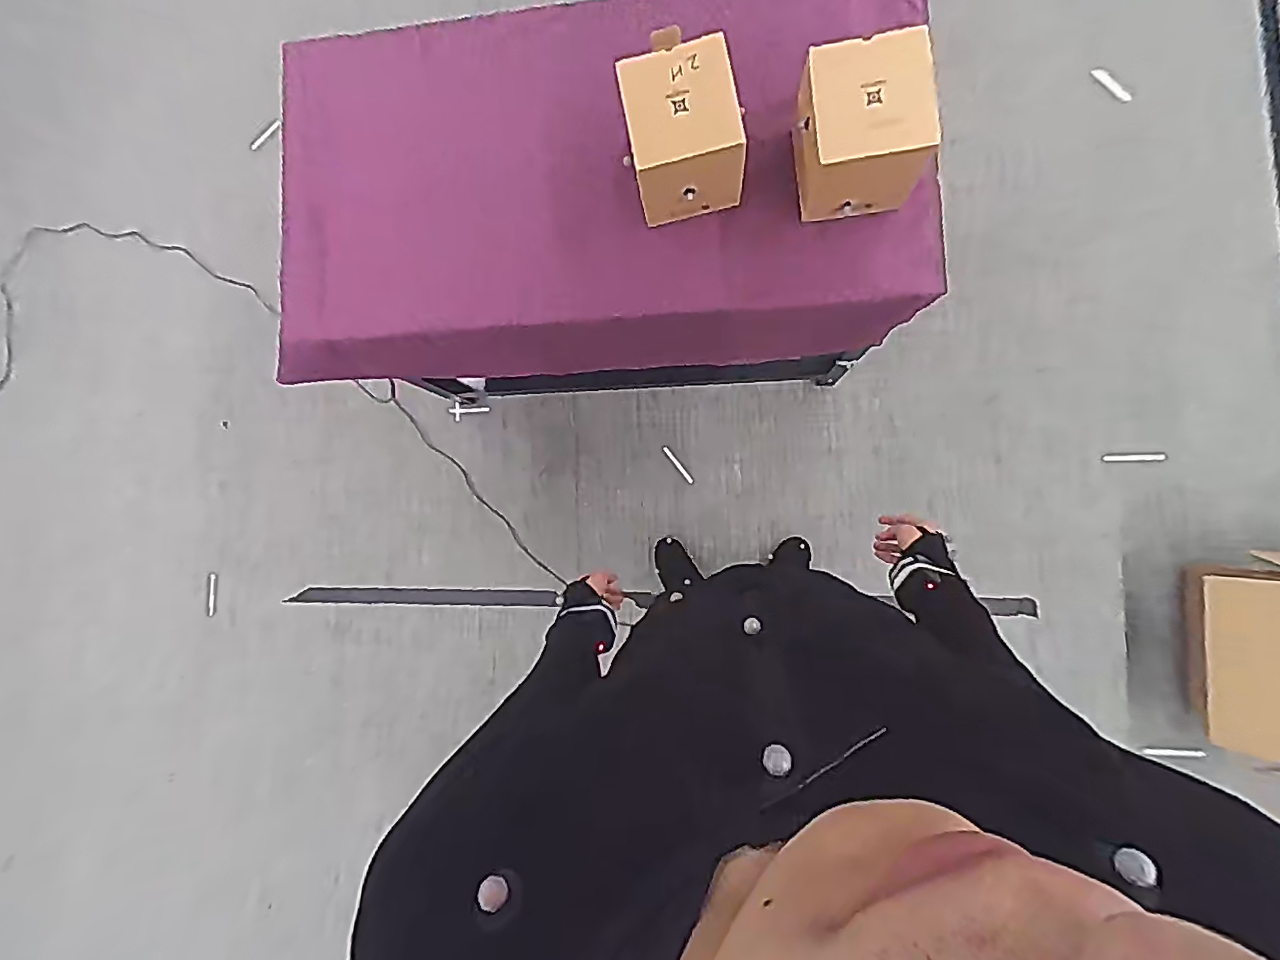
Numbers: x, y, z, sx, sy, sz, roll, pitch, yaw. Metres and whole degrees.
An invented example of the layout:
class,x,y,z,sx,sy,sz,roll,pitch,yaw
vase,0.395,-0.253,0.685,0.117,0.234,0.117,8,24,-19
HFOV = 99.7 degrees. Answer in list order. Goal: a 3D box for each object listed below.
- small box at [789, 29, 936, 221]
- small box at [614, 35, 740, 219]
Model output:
class,x,y,z,sx,sy,sz,roll,pitch,yaw
small box,0.334,-0.540,0.845,0.168,0.176,0.179,-6,86,7
small box,0.064,-0.553,0.879,0.168,0.176,0.179,-11,85,6
